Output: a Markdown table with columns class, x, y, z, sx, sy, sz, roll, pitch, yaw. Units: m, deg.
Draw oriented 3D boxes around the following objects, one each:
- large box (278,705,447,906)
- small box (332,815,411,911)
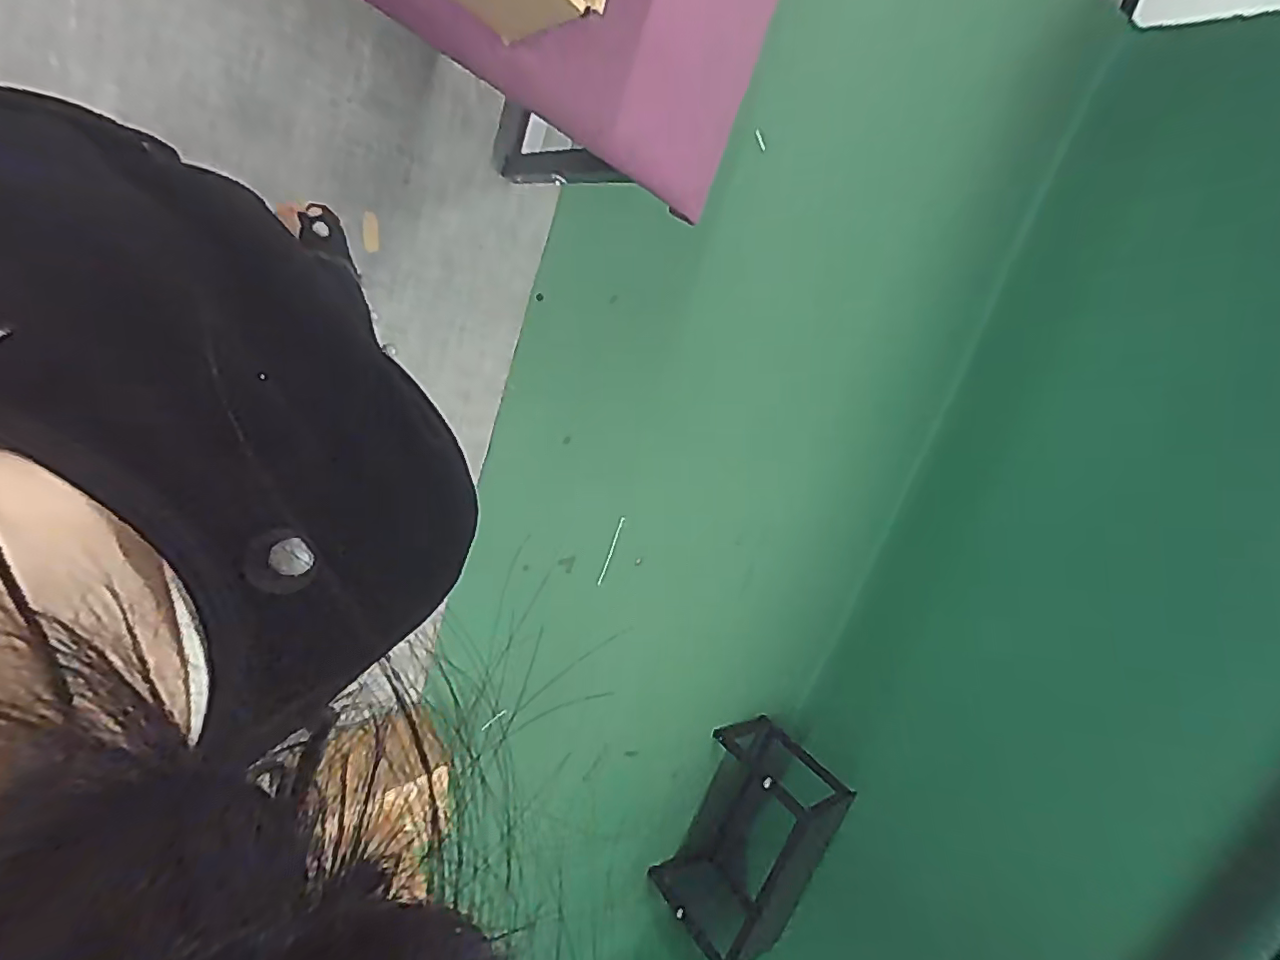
| class | x | y | z | sx | sy | sz | roll | pitch | yaw |
| --- | --- | --- | --- | --- | --- | --- | --- | --- | --- |
| large box | -0.873 | 1.002 | 1.719 | 0.408 | 0.320 | 0.320 | -11 | 120 | -39 |
| small box | -0.753 | 1.086 | 1.518 | 0.168 | 0.176 | 0.179 | -9 | 118 | -38 |
